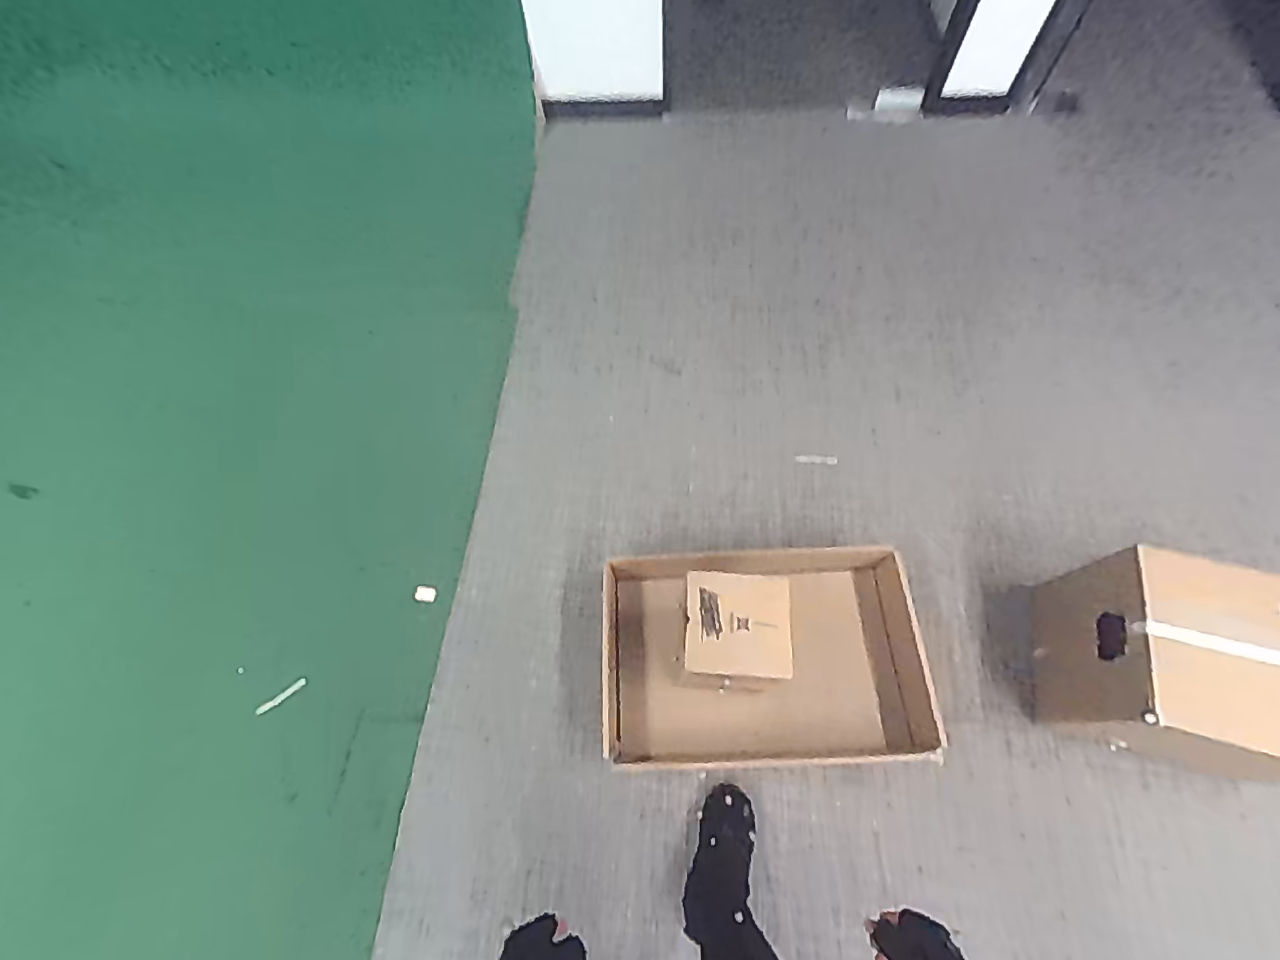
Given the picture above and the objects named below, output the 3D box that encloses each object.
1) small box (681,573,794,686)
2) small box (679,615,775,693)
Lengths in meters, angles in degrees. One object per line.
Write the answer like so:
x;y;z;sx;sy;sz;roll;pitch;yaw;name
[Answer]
0.166;0.273;0.967;0.179;0.176;0.168;4;66;2;small box
0.174;0.344;1.116;0.179;0.176;0.168;4;65;2;small box
